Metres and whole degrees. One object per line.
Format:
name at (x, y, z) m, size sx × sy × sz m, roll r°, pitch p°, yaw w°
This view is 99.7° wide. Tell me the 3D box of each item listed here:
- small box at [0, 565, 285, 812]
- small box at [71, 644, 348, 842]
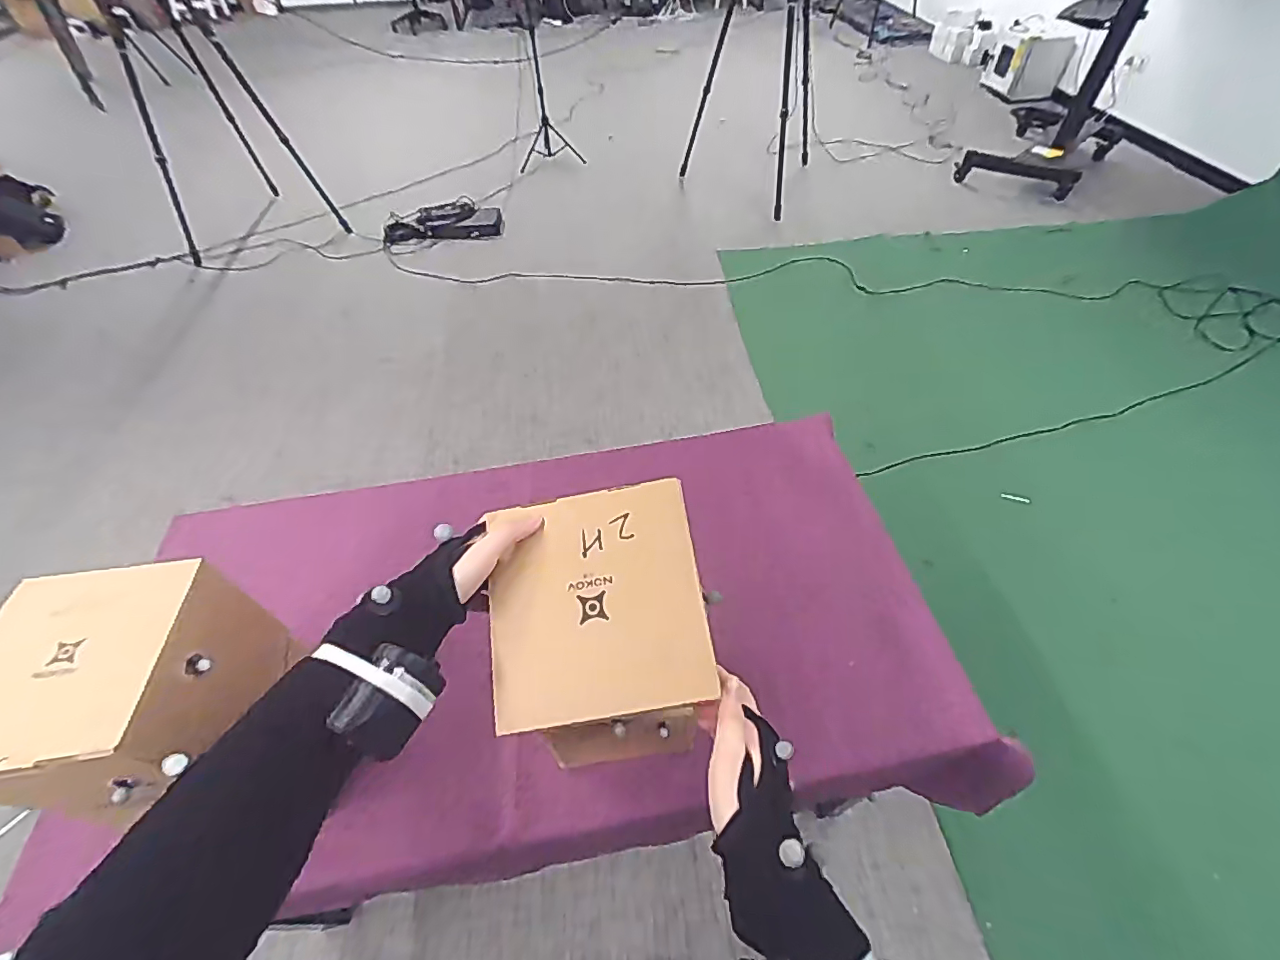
small box at (-0.487, 0.207, 0.525) m, size 0.168 × 0.176 × 0.179 m, roll -6°, pitch 50°, yaw -3°
small box at (-0.482, 0.316, 0.647) m, size 0.179 × 0.176 × 0.168 m, roll -7°, pitch 50°, yaw -4°
